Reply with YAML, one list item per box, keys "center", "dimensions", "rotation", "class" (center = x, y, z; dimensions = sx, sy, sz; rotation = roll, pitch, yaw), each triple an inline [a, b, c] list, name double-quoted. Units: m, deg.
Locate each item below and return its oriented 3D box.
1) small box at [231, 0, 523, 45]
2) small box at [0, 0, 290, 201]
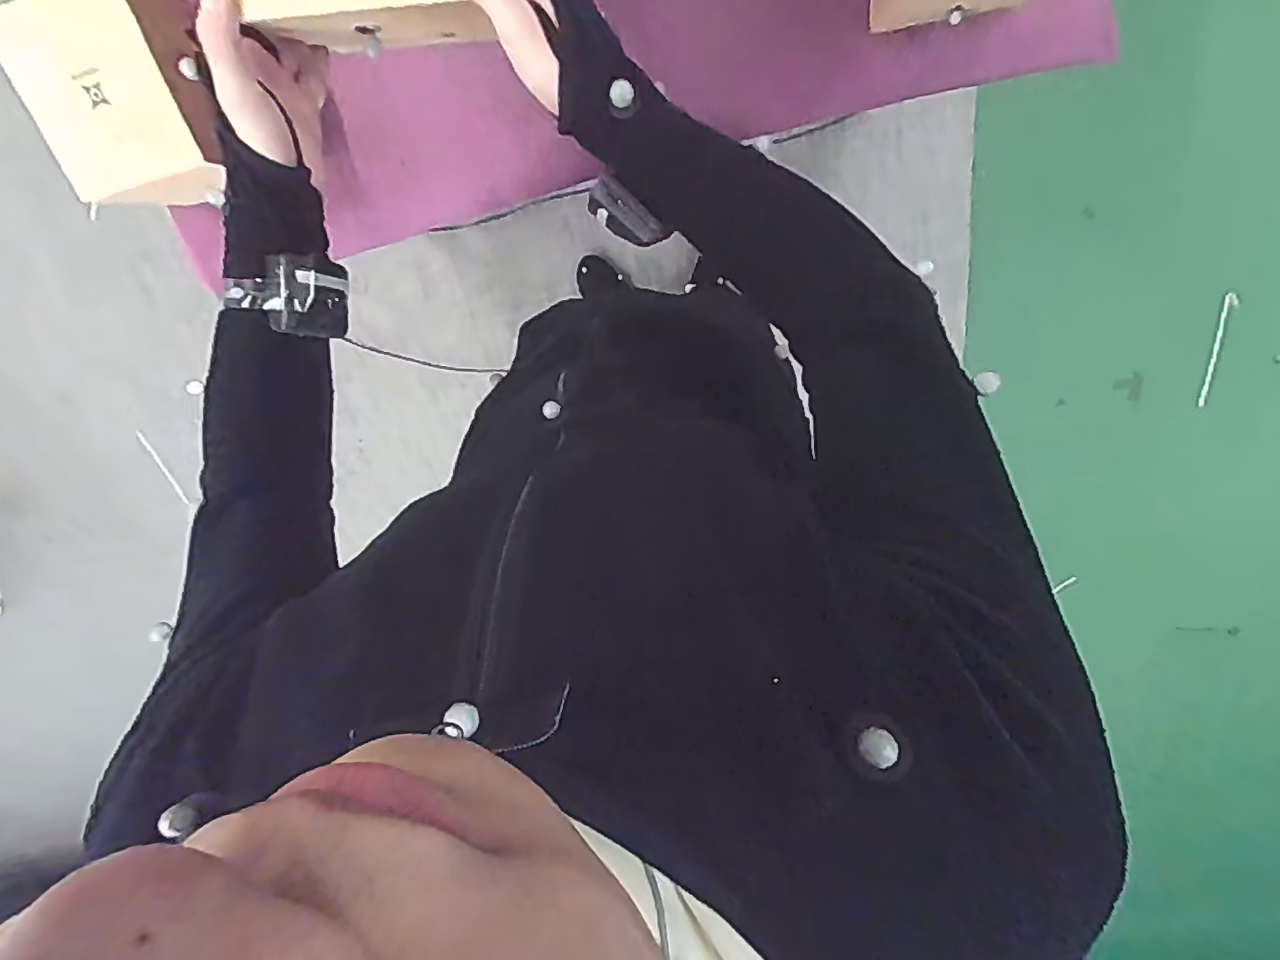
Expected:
- center: [-0.184, -0.414, 0.364]
  dimensions: [0.168, 0.176, 0.179]
  rotation: [-5, 123, 1]
  class: "small box"
- center: [-0.565, -0.440, 0.629]
  dimensions: [0.168, 0.176, 0.179]
  rotation: [-10, 115, 8]
  class: "small box"
